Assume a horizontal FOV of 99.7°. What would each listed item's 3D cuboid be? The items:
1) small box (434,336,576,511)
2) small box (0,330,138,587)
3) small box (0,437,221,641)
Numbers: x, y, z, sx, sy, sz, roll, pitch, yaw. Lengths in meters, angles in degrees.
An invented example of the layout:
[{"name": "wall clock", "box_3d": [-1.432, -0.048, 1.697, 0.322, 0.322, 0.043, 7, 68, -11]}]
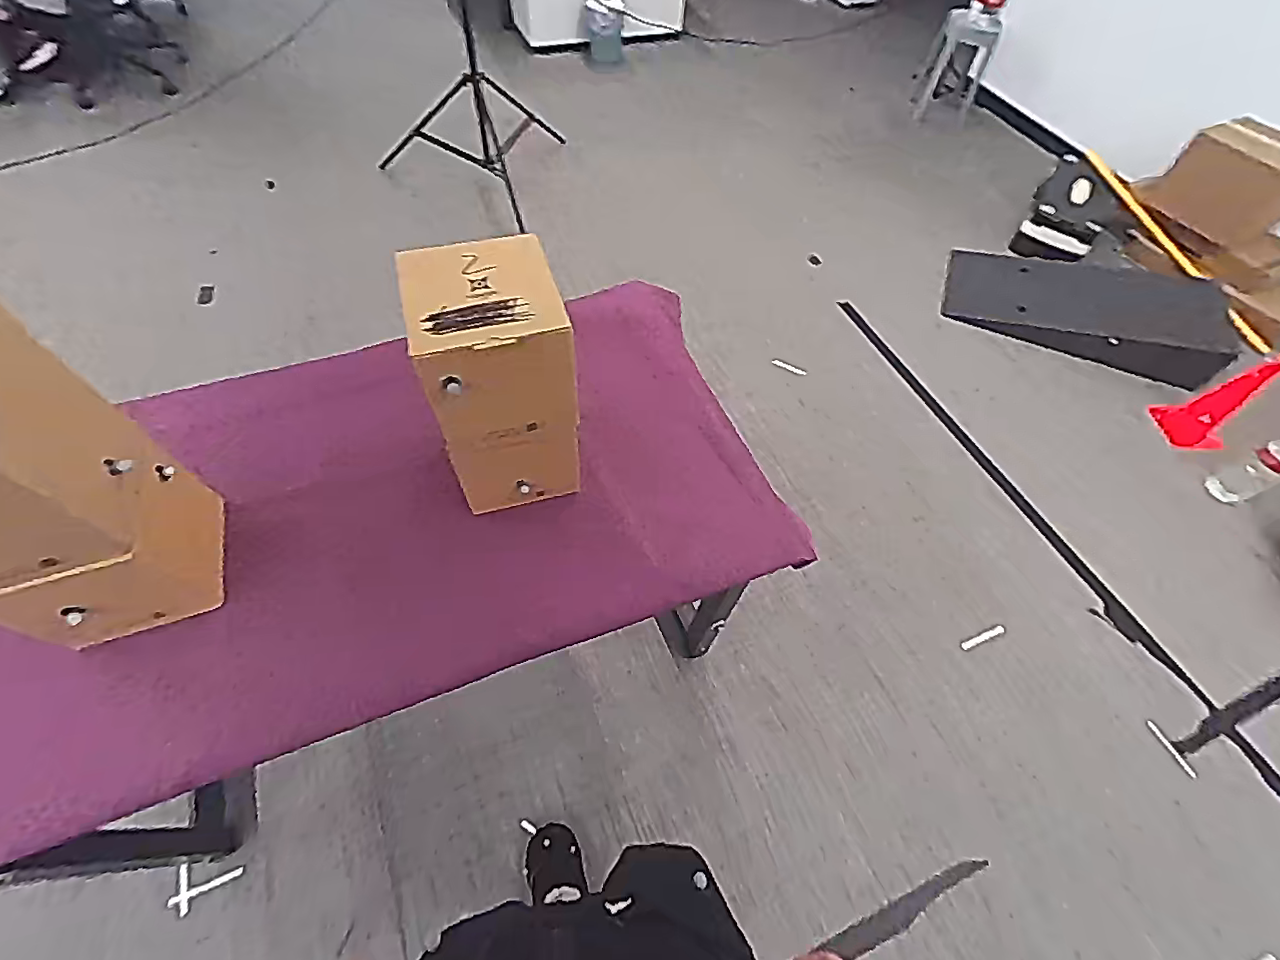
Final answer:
[{"name": "small box", "box_3d": [-0.195, -0.081, 0.801, 0.168, 0.176, 0.179, -13, 60, -12]}, {"name": "small box", "box_3d": [-0.644, -0.012, 0.529, 0.168, 0.176, 0.179, -18, 60, -15]}, {"name": "small box", "box_3d": [-0.652, 0.081, 0.664, 0.168, 0.176, 0.179, -17, 60, -14]}]
